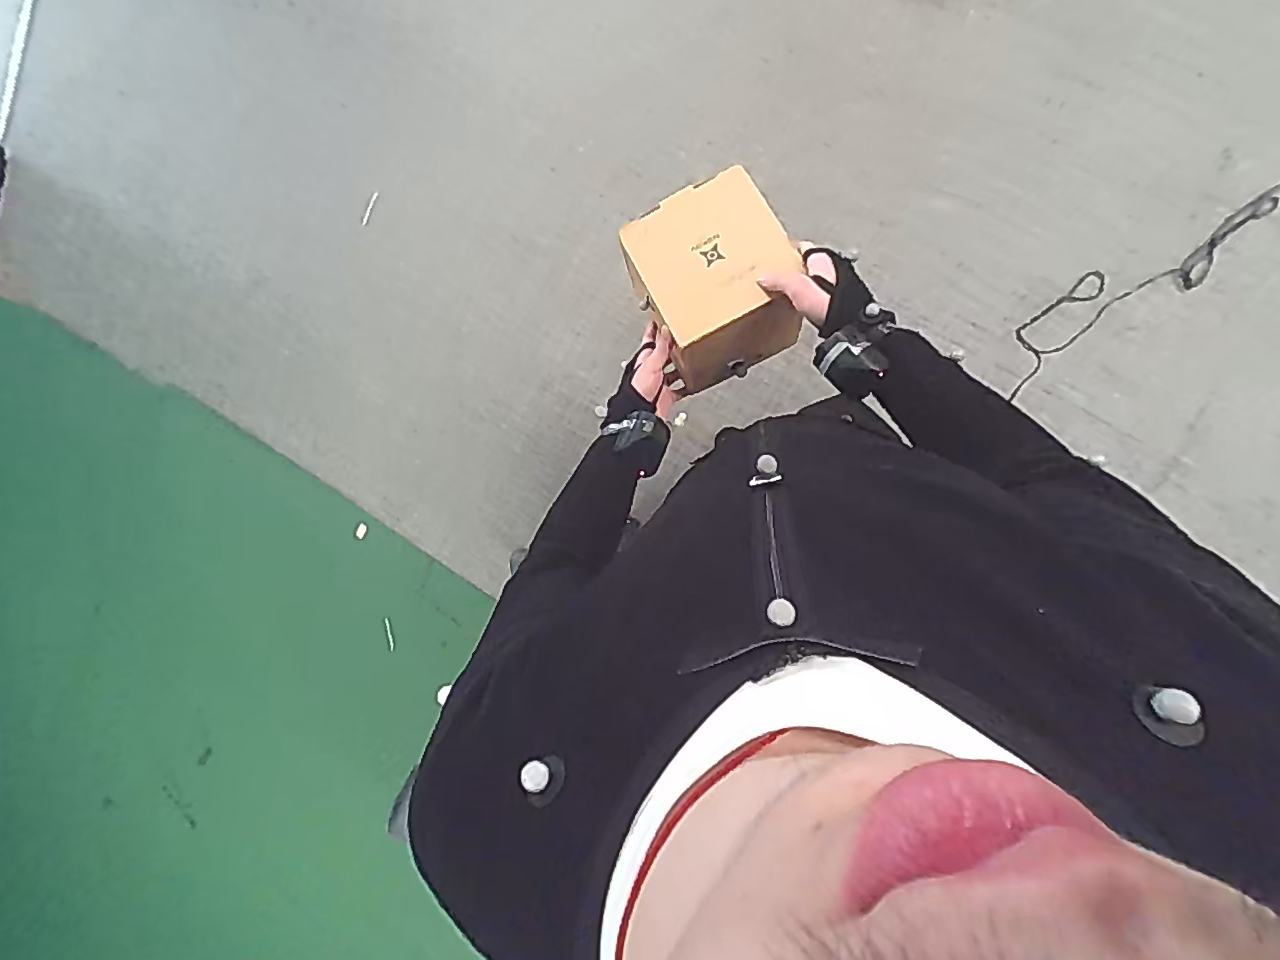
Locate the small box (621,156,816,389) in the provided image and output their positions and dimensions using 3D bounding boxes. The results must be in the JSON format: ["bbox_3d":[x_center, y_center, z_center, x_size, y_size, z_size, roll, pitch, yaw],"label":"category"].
[{"bbox_3d":[0.096,-0.243,0.673,0.168,0.176,0.179,-25,75,6],"label":"small box"}]

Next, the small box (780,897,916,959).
[{"bbox_3d":[0.325,0.789,0.809,0.168,0.176,0.179,35,103,4],"label":"small box"}]
